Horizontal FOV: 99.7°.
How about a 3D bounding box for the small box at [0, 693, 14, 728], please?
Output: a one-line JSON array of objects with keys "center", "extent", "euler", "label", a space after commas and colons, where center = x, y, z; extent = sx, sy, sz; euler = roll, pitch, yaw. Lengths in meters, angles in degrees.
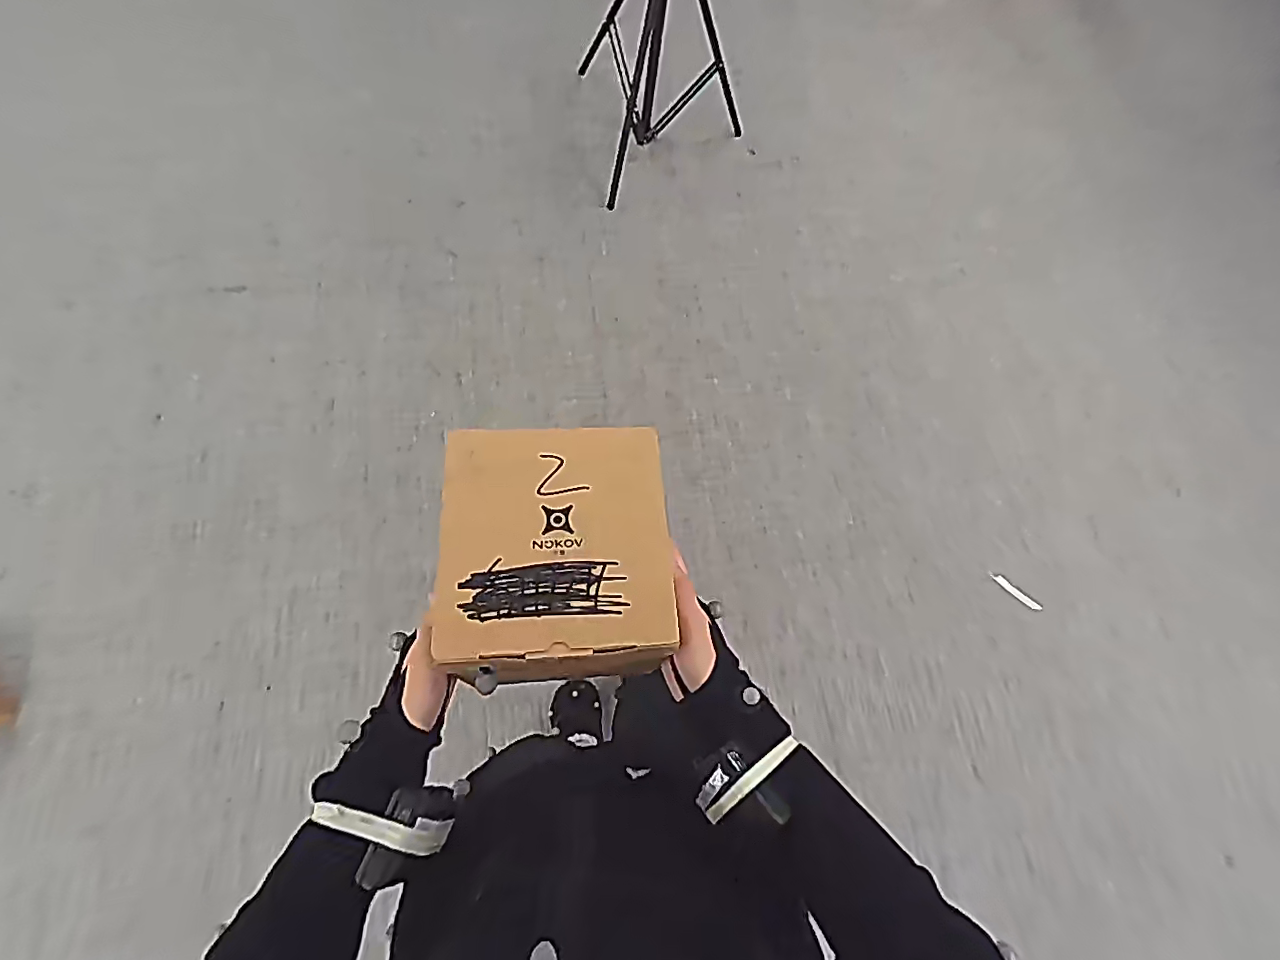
[{"center": [-1.447, 0.476, 1.081], "extent": [0.179, 0.176, 0.168], "euler": [44, 72, 9], "label": "small box"}]
